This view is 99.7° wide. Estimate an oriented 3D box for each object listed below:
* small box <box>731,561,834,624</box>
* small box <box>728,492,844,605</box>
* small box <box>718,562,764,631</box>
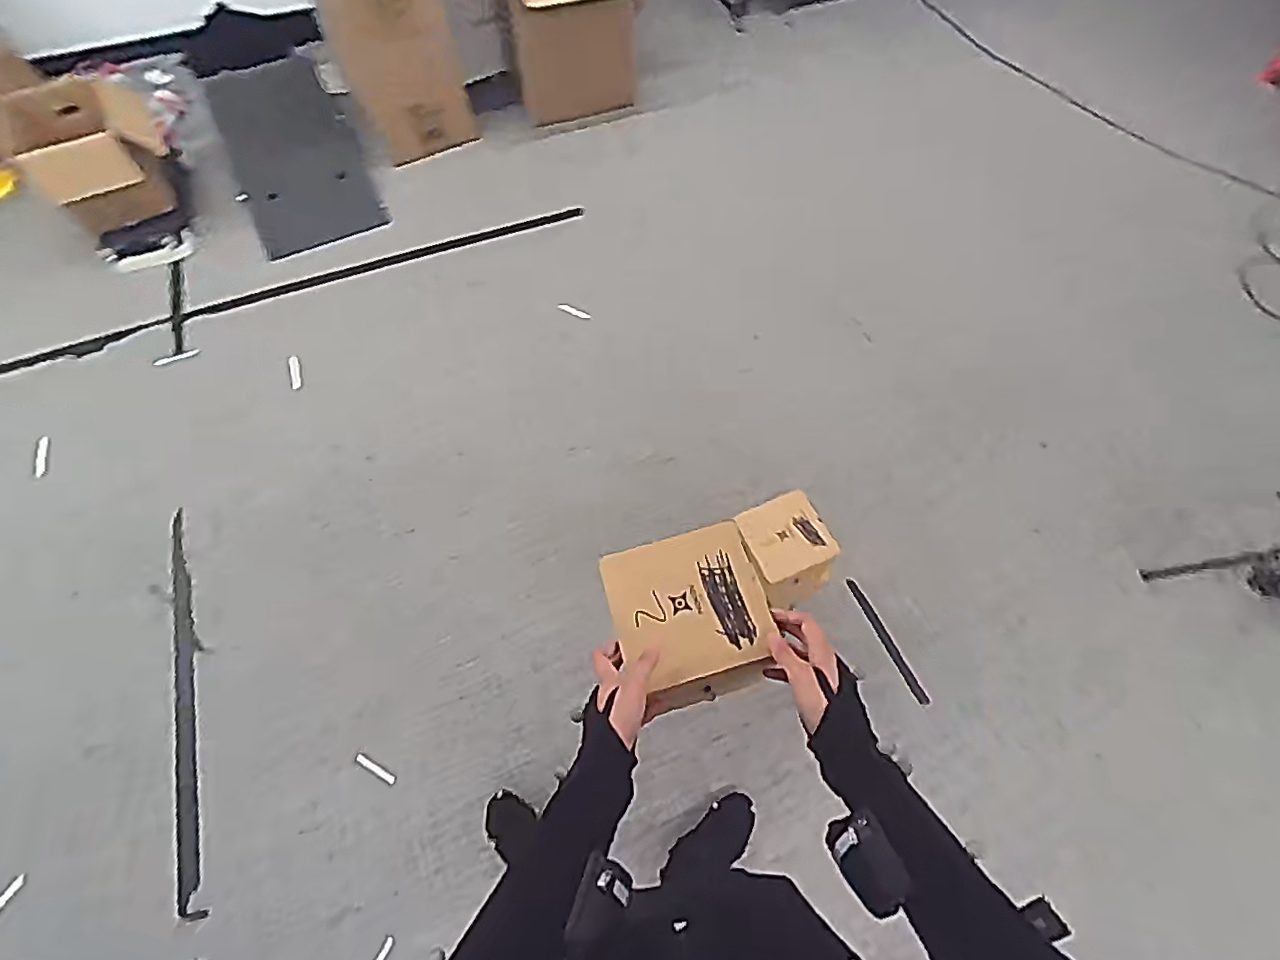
[{"bbox_3d":[0.344,0.235,1.352,0.168,0.176,0.179,-24,66,-12],"label":"small box"},{"bbox_3d":[0.315,0.157,1.208,0.179,0.176,0.168,-21,64,-9],"label":"small box"},{"bbox_3d":[0.336,0.299,1.503,0.179,0.176,0.168,-23,65,-11],"label":"small box"}]
